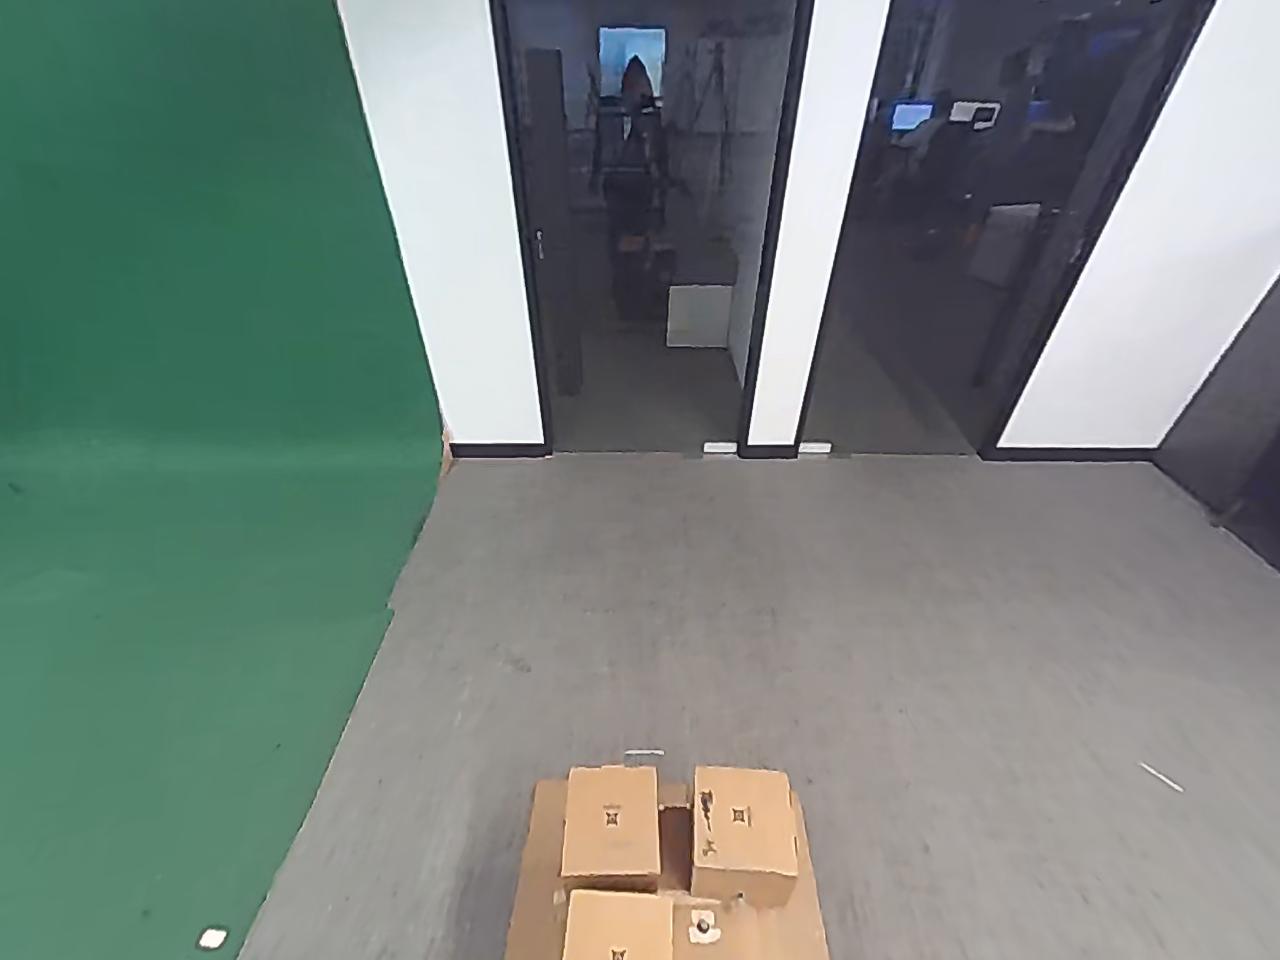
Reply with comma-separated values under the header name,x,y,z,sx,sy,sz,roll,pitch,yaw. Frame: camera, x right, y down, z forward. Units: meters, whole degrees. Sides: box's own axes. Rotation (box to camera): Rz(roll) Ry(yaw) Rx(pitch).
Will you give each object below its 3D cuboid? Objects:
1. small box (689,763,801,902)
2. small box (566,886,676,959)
name,x,y,z,sx,sy,sz,roll,pitch,yaw
small box,0.185,0.652,0.999,0.179,0.176,0.168,3,38,5
small box,-0.031,0.771,0.849,0.168,0.176,0.179,2,40,1
